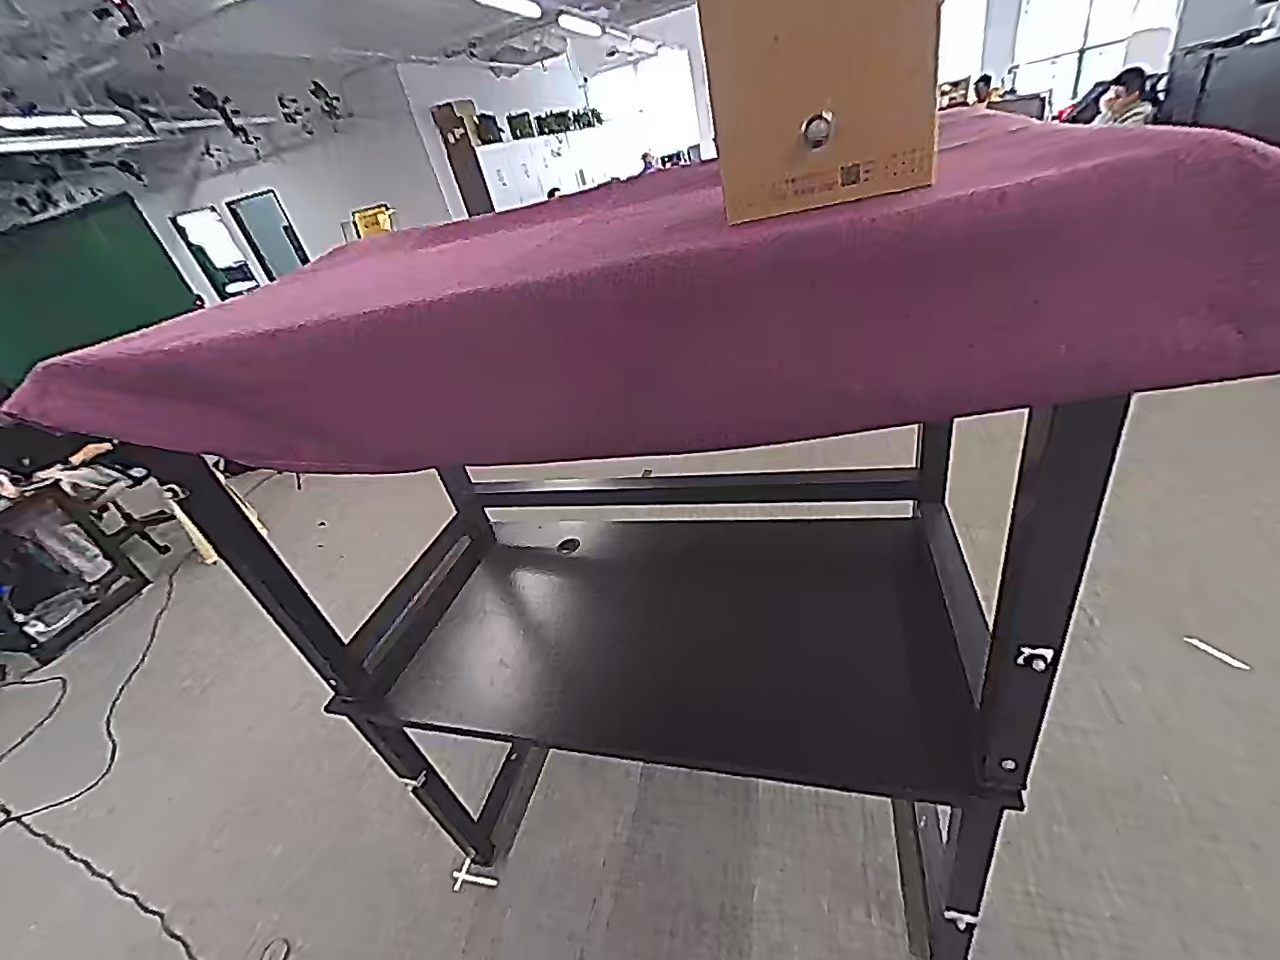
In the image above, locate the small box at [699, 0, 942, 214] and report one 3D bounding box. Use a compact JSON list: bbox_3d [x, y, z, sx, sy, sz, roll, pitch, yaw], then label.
[{"bbox_3d":[0.157,-0.343,0.469,0.168,0.176,0.179,-2,33,22],"label":"small box"}]
